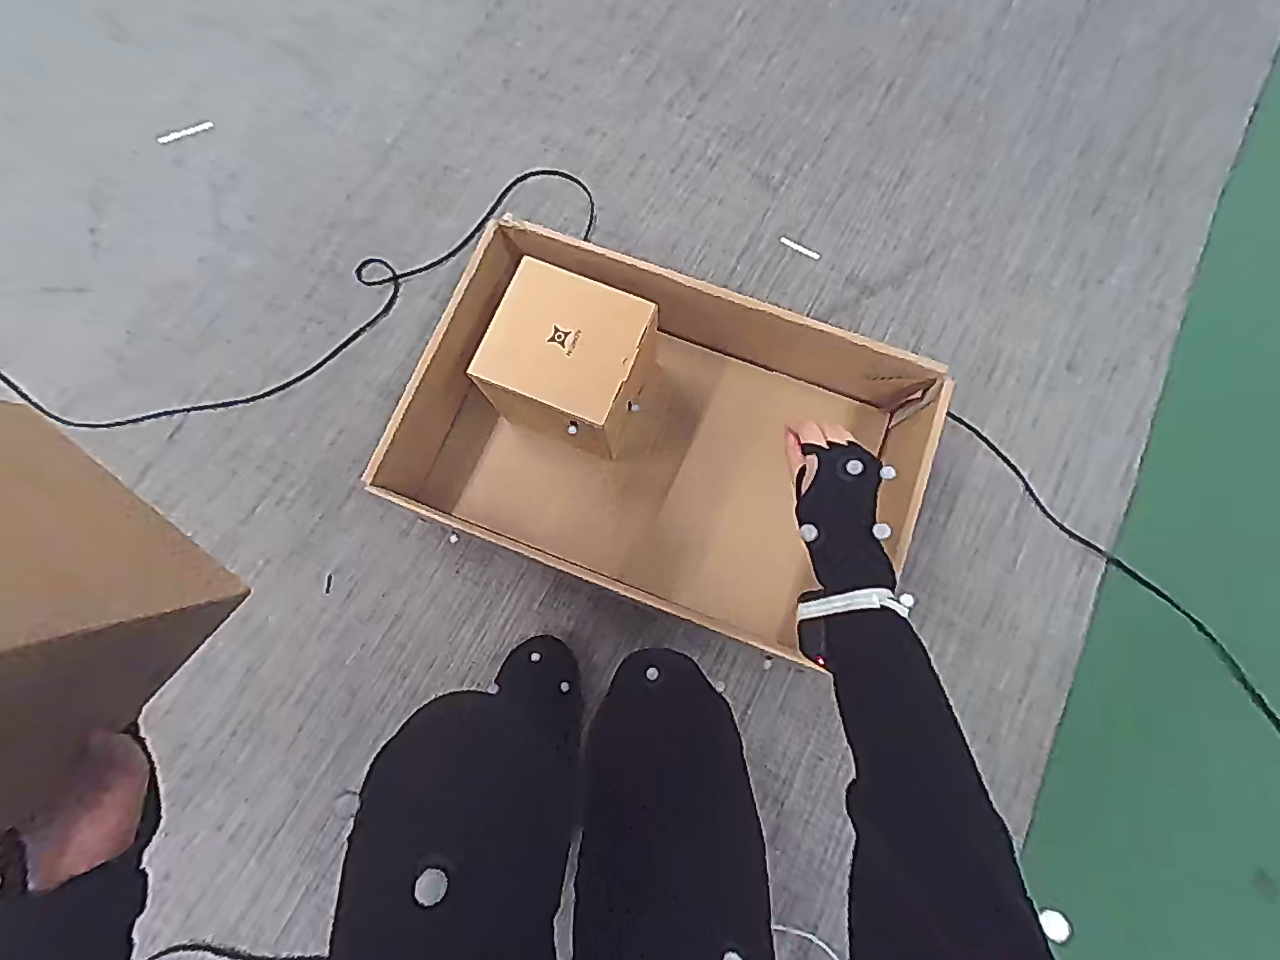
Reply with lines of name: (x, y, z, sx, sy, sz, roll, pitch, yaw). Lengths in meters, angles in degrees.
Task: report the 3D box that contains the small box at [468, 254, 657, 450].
small box: (-0.090, -0.154, 0.709, 0.179, 0.176, 0.168, 22, 80, 4)
